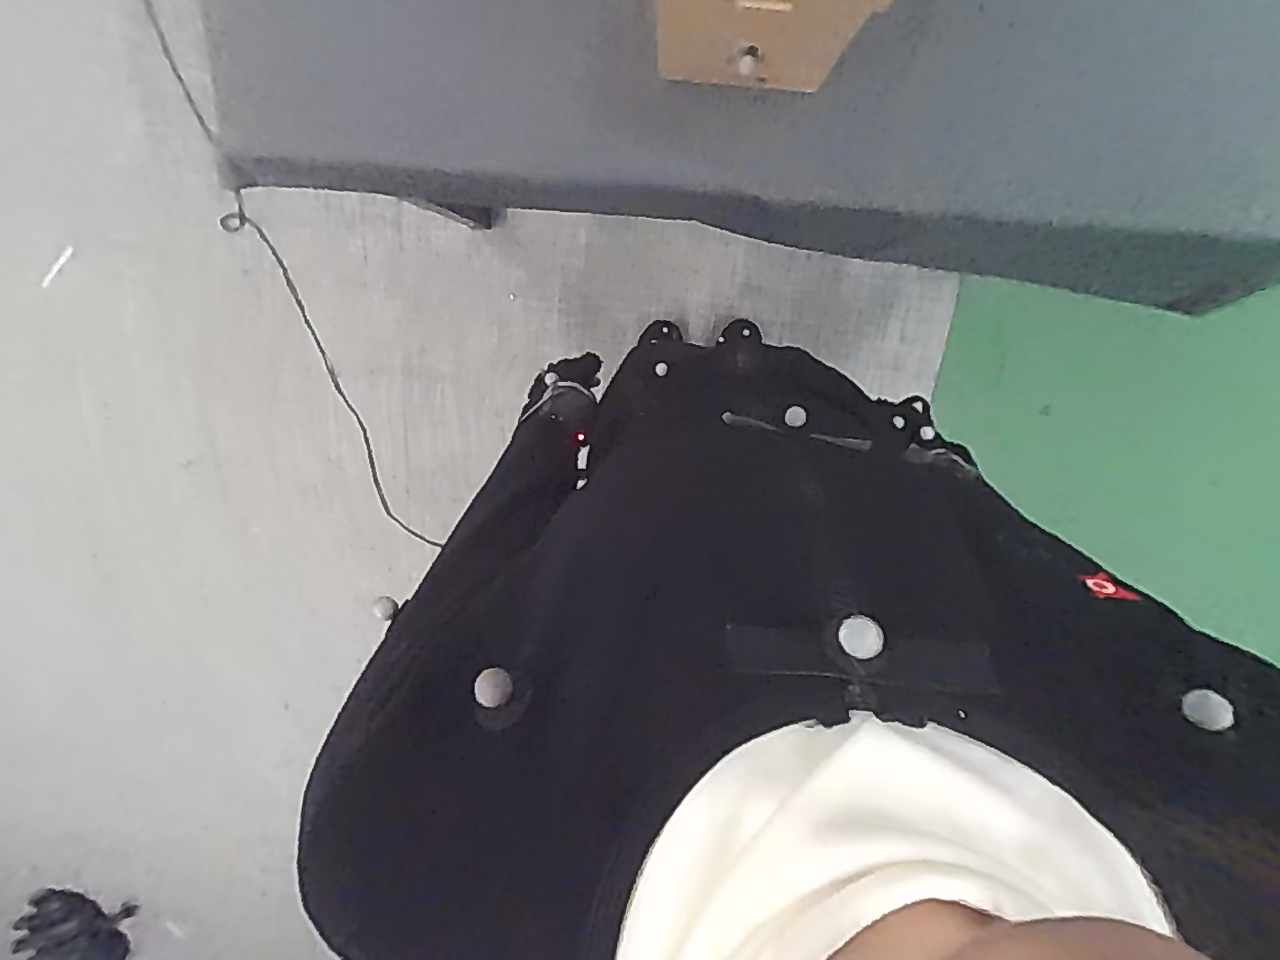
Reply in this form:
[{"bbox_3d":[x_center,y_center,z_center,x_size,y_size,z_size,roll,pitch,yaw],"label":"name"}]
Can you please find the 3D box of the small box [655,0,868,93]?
[{"bbox_3d":[0.105,-0.464,0.463,0.168,0.176,0.179,6,108,1],"label":"small box"}]
